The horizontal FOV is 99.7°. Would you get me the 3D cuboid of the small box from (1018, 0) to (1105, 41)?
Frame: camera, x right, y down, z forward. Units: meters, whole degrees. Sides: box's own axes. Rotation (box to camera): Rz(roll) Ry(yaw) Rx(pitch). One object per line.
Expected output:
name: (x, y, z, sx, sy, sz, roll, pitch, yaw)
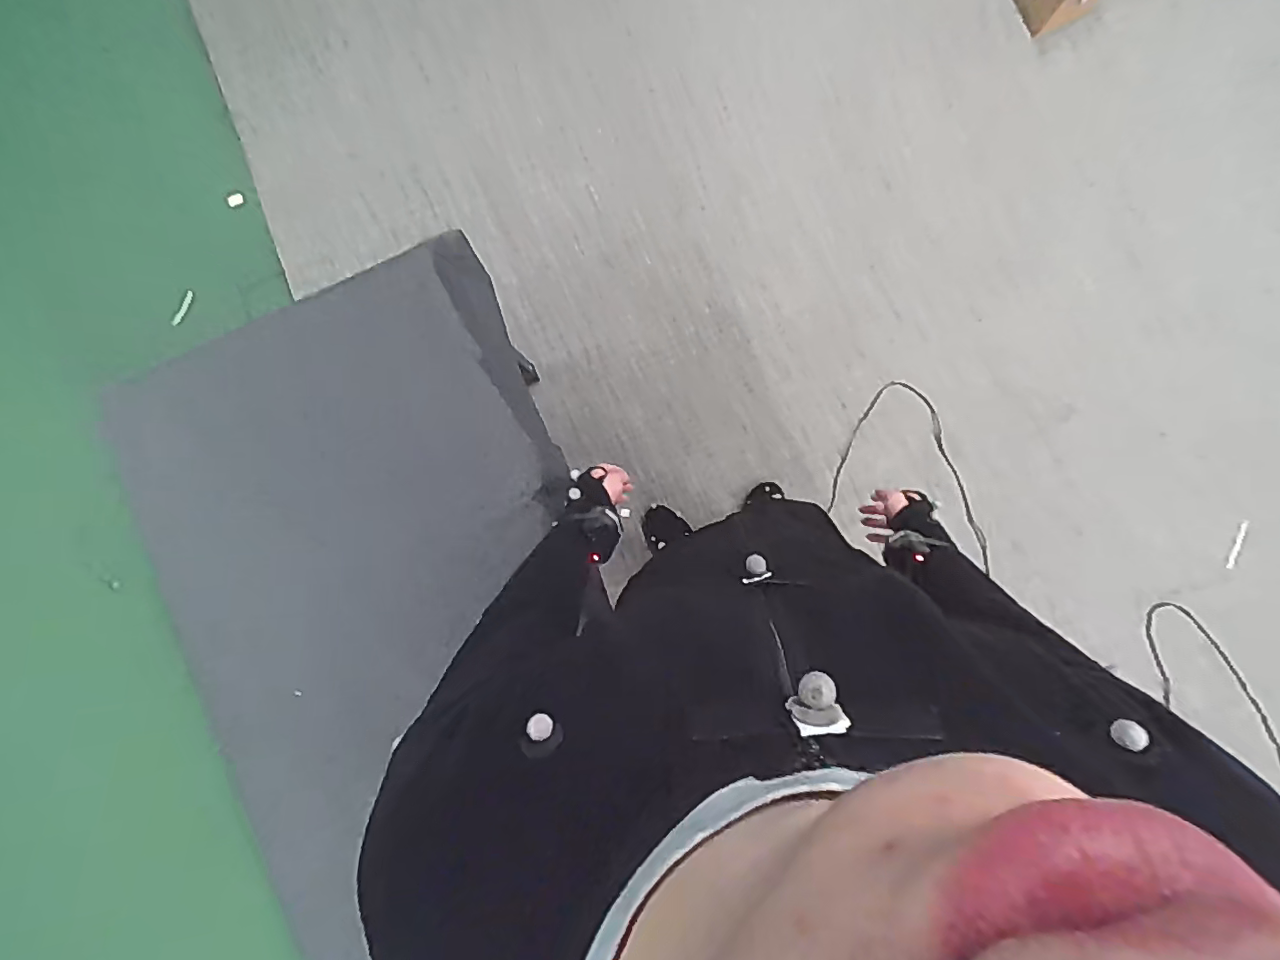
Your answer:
small box: (1.168, -1.353, 1.462, 0.179, 0.176, 0.168, -24, 87, 3)
